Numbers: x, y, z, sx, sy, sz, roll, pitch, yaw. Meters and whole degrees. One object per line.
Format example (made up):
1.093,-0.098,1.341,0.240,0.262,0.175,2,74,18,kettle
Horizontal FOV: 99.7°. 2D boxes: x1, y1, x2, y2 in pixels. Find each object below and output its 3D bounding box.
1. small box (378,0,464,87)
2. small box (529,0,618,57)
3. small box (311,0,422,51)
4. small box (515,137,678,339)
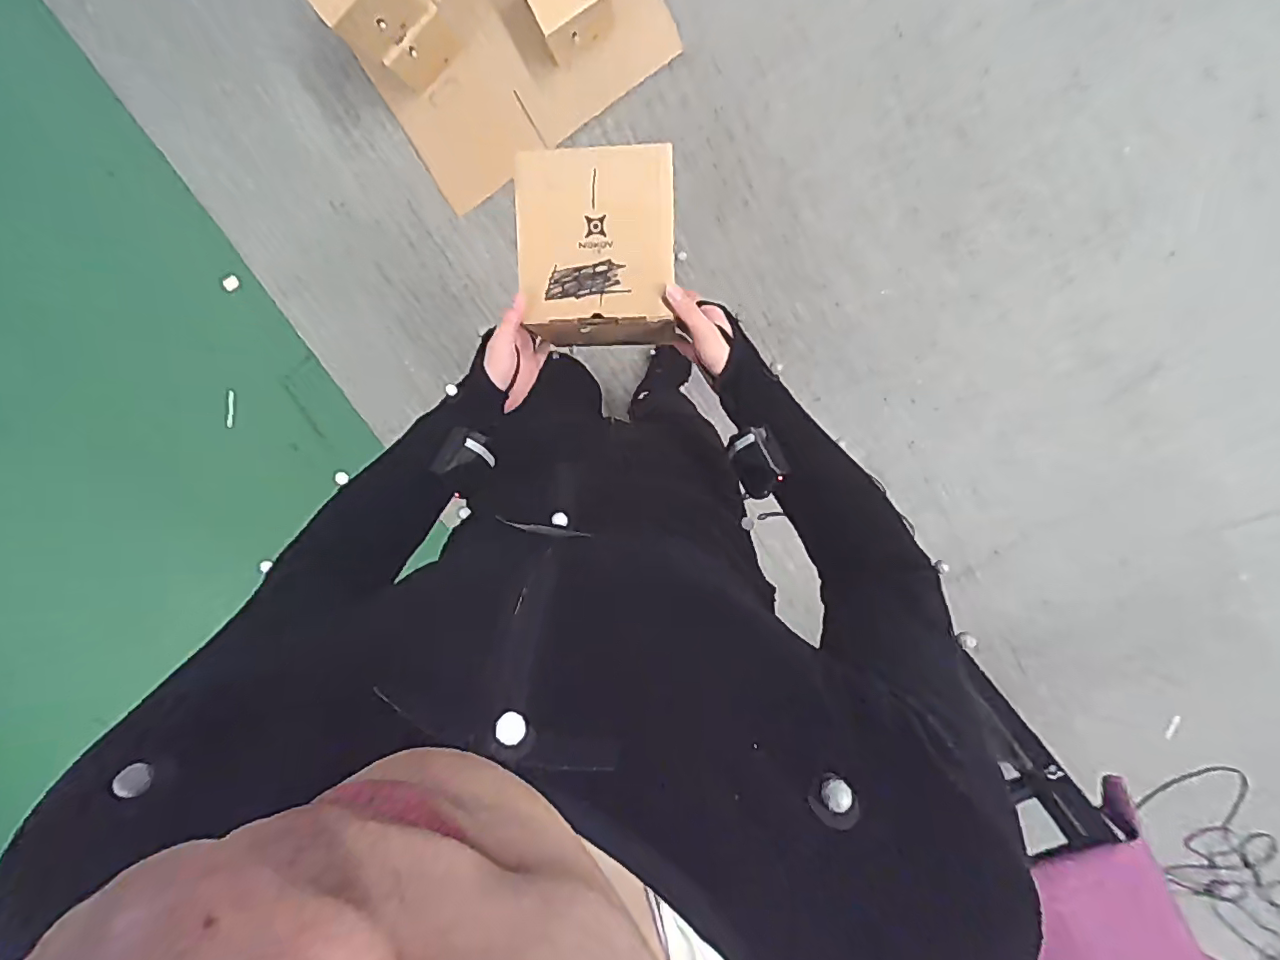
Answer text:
-0.535,-1.048,1.221,0.168,0.176,0.179,-36,102,14,small box
-0.161,-1.078,1.184,0.168,0.176,0.179,-26,104,12,small box
-0.570,-1.000,1.065,0.168,0.176,0.179,-35,102,13,small box
-0.040,-0.263,0.630,0.168,0.176,0.179,-1,95,4,small box
